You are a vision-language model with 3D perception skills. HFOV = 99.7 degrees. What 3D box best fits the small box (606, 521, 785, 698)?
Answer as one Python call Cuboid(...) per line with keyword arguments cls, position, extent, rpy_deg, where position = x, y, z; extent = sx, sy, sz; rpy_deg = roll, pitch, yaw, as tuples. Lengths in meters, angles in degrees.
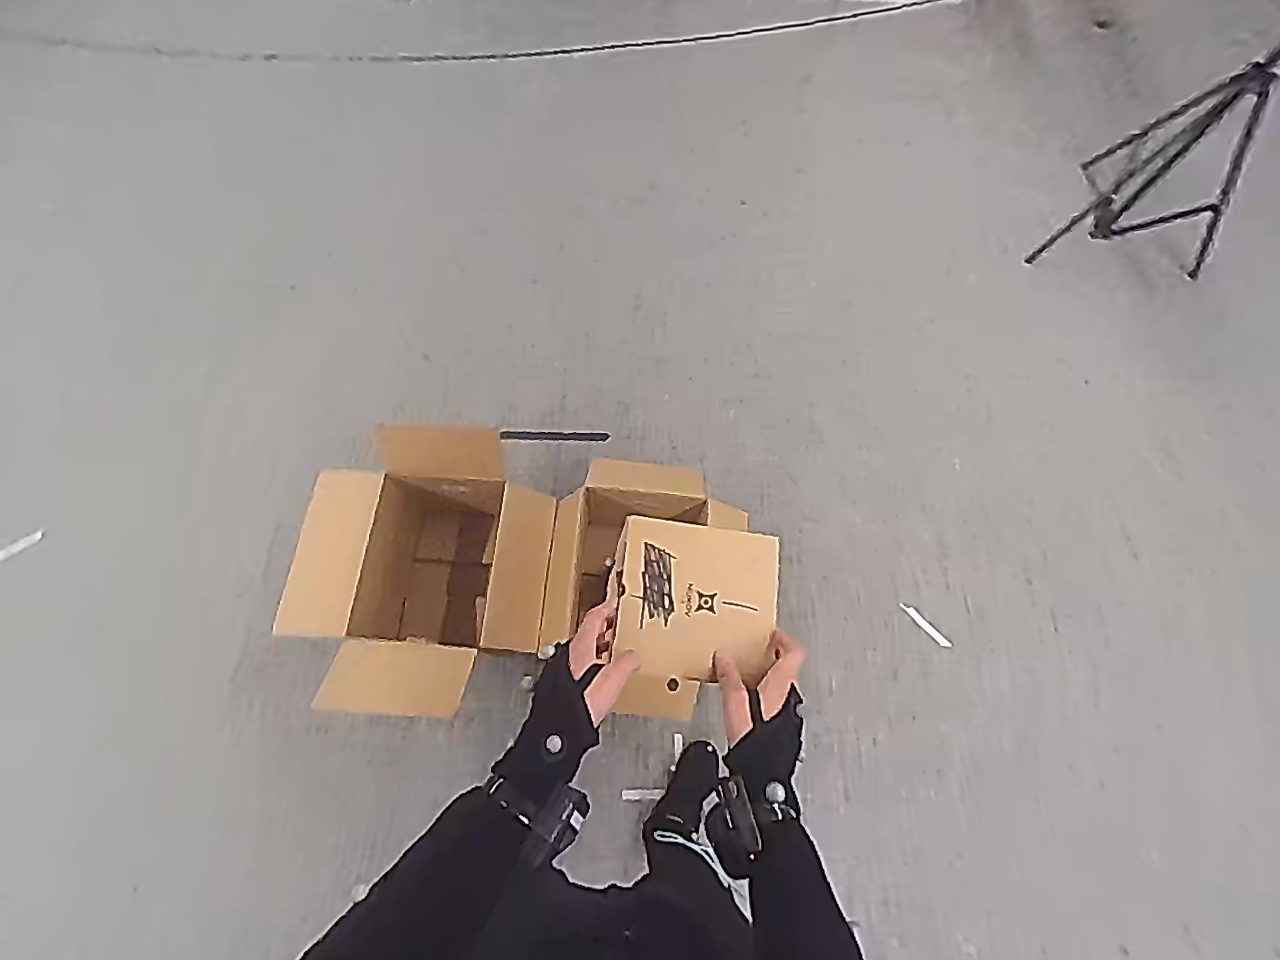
Cuboid(cls="small box", position=(0.057, 0.158, 0.647), extent=(0.179, 0.176, 0.168), rpy_deg=(9, 72, -4))
